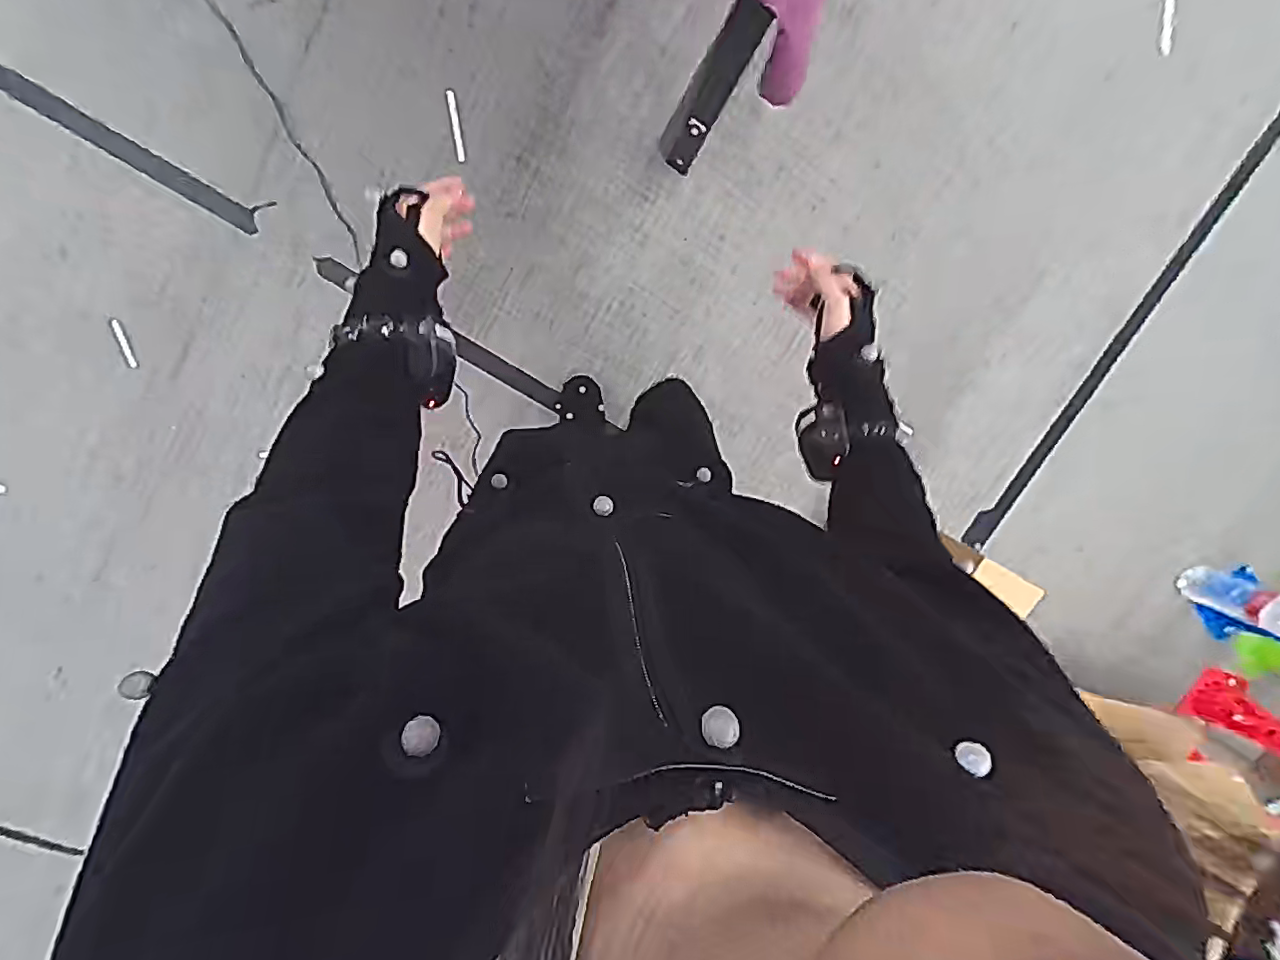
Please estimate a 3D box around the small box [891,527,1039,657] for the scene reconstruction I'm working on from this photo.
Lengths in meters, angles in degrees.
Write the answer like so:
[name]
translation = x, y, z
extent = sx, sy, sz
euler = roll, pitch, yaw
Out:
[small box]
translation = 0.664, 0.227, 1.133
extent = 0.168, 0.176, 0.179
euler = 28, 100, -14
